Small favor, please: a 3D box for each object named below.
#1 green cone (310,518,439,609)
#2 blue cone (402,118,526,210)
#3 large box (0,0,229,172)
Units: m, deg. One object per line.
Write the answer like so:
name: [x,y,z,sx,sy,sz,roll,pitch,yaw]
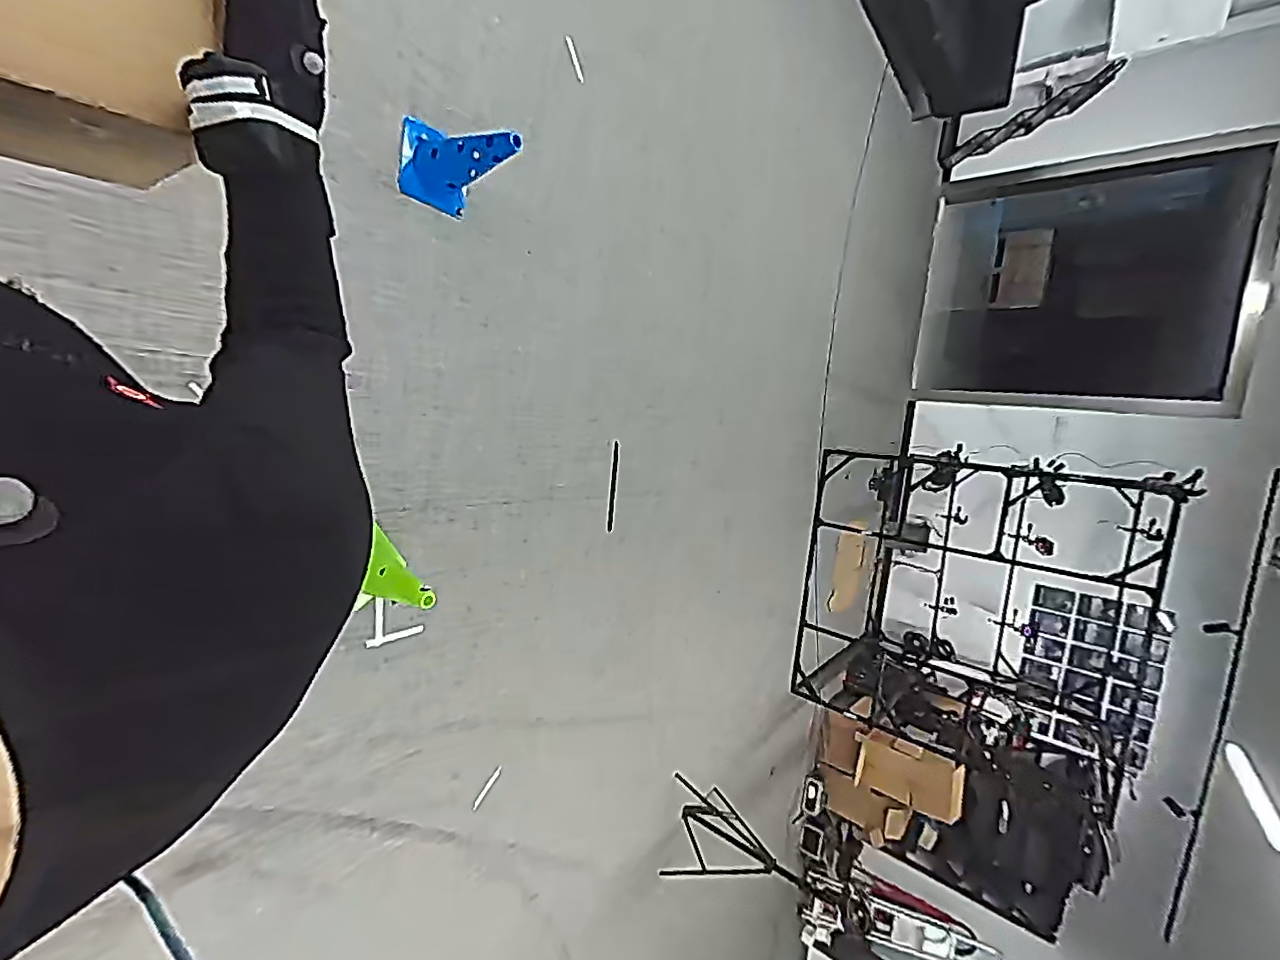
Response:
green cone: [-0.647,0.257,1.408,0.202,0.368,0.200,-49,134,-35]
blue cone: [-0.444,-0.856,1.418,0.192,0.380,0.193,3,96,-53]
large box: [-0.534,-0.423,0.311,0.408,0.320,0.320,-8,110,-51]
